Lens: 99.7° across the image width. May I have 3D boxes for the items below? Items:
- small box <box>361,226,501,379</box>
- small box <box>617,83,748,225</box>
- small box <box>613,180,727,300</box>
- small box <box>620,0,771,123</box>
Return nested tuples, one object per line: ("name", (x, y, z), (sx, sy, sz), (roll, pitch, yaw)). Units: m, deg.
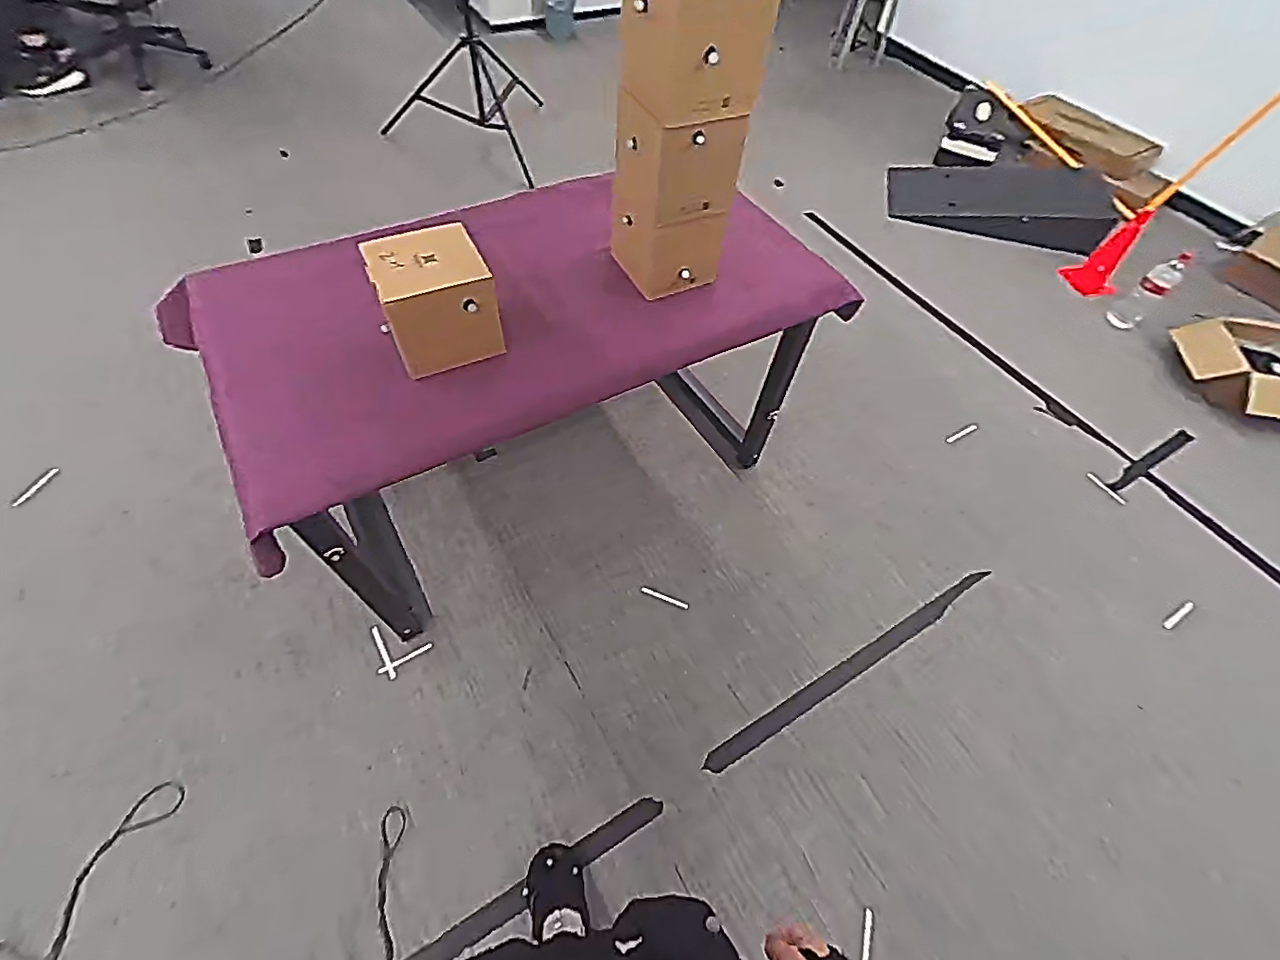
("small box", (-0.355, -0.308, 0.947), (0.179, 0.176, 0.168), (-23, 61, -18))
("small box", (0.063, -0.589, 0.968), (0.168, 0.176, 0.179), (-21, 60, -16))
("small box", (0.050, -0.503, 1.107), (0.168, 0.176, 0.179), (-23, 62, -18))
("small box", (0.078, -0.673, 0.828), (0.168, 0.176, 0.179), (-22, 61, -17))
